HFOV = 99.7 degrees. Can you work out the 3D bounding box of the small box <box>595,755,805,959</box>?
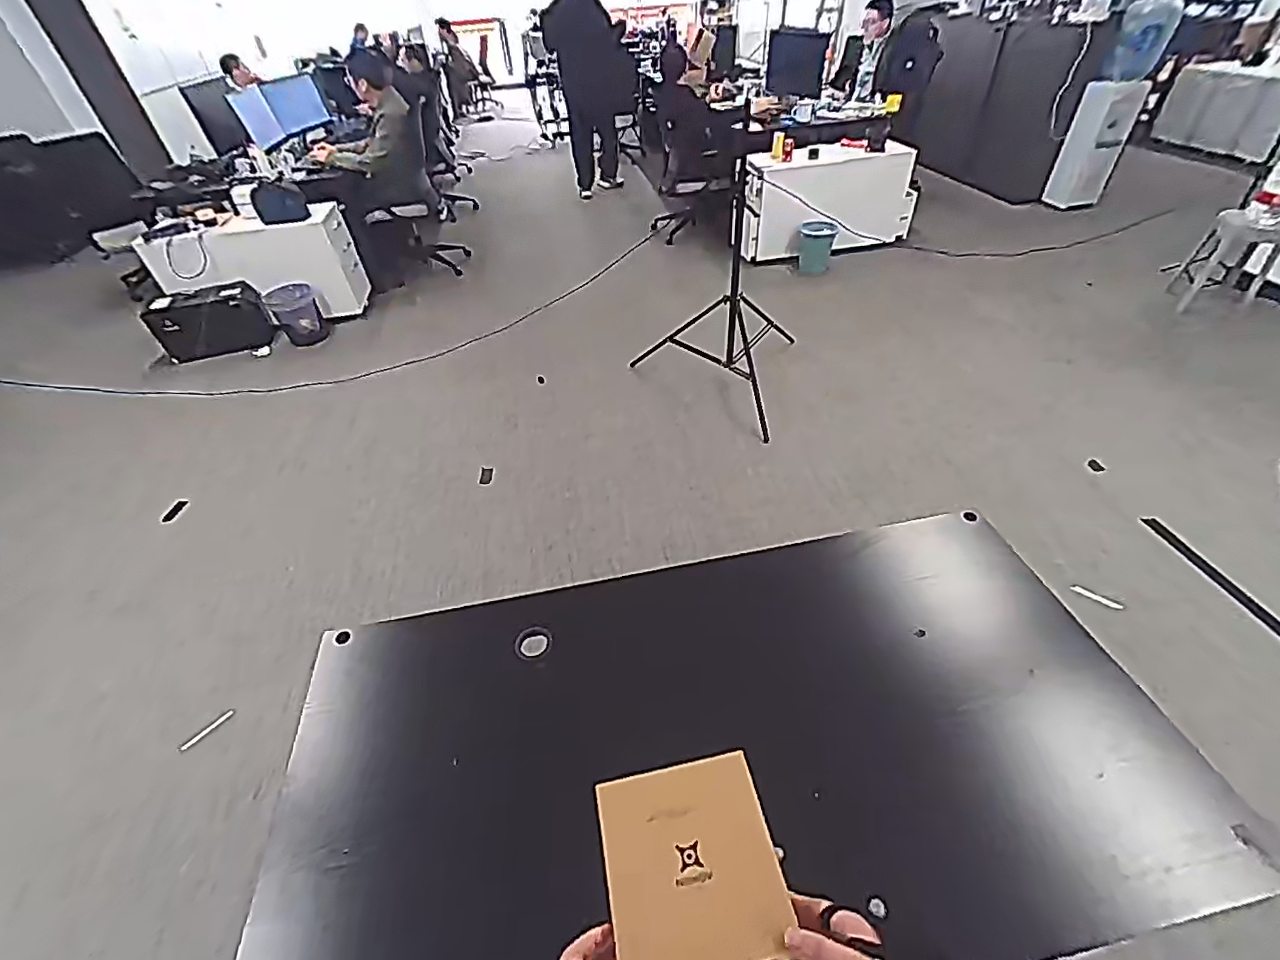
[{"bbox_3d":[0.052,0.425,0.567,0.168,0.176,0.179,-10,42,-7],"label":"small box"}]
